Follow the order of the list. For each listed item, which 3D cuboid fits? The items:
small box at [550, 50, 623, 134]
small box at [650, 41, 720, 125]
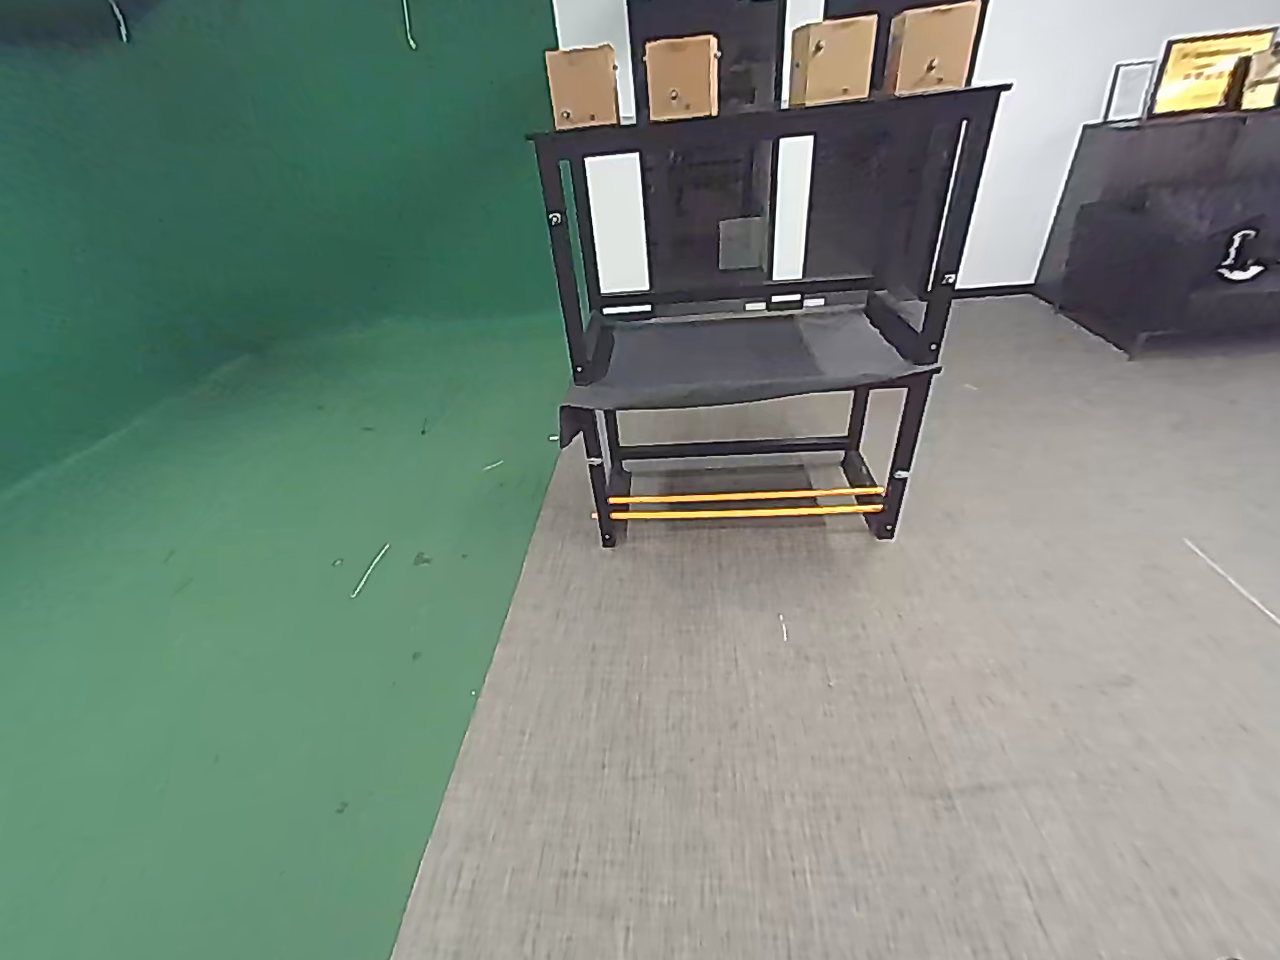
[{"bbox_3d":[-0.138,-1.053,1.475,0.168,0.176,0.179,-2,34,4],"label":"small box"},{"bbox_3d":[0.126,-1.060,1.453,0.168,0.176,0.179,3,36,12],"label":"small box"}]
